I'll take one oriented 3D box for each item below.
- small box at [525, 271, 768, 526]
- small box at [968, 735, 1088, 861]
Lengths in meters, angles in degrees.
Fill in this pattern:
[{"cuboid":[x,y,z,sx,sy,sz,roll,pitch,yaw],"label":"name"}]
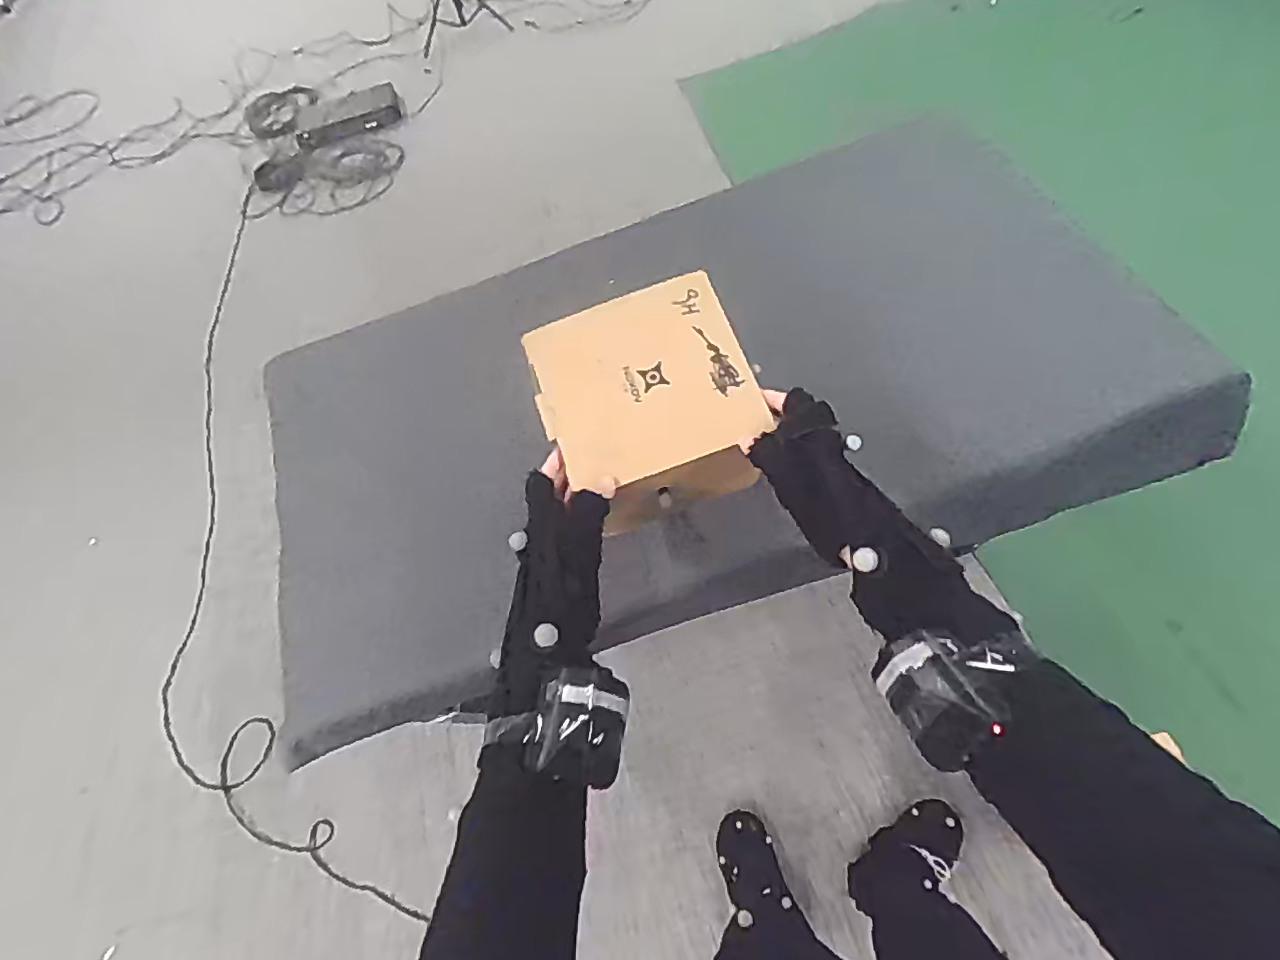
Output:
[{"cuboid":[0.009,-0.065,0.540,0.179,0.176,0.168,-19,73,0],"label":"small box"},{"cuboid":[0.776,0.594,1.032,0.179,0.176,0.168,-17,63,2],"label":"small box"}]
